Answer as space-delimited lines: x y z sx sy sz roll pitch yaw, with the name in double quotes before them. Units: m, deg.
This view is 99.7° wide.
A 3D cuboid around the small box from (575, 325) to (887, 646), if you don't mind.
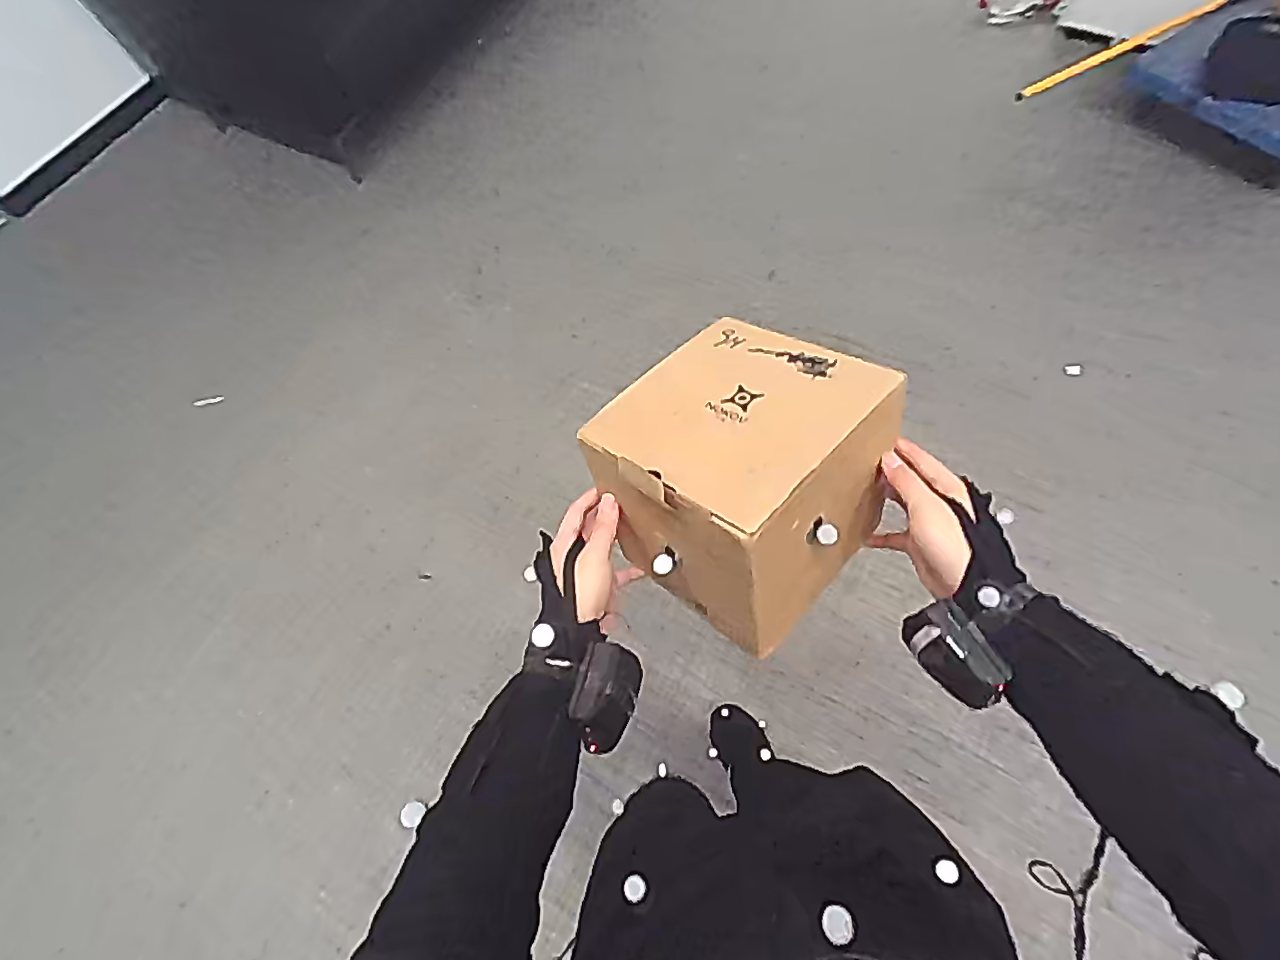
"small box" 0.081 0.004 0.454 0.179 0.176 0.168 -42 50 -21
